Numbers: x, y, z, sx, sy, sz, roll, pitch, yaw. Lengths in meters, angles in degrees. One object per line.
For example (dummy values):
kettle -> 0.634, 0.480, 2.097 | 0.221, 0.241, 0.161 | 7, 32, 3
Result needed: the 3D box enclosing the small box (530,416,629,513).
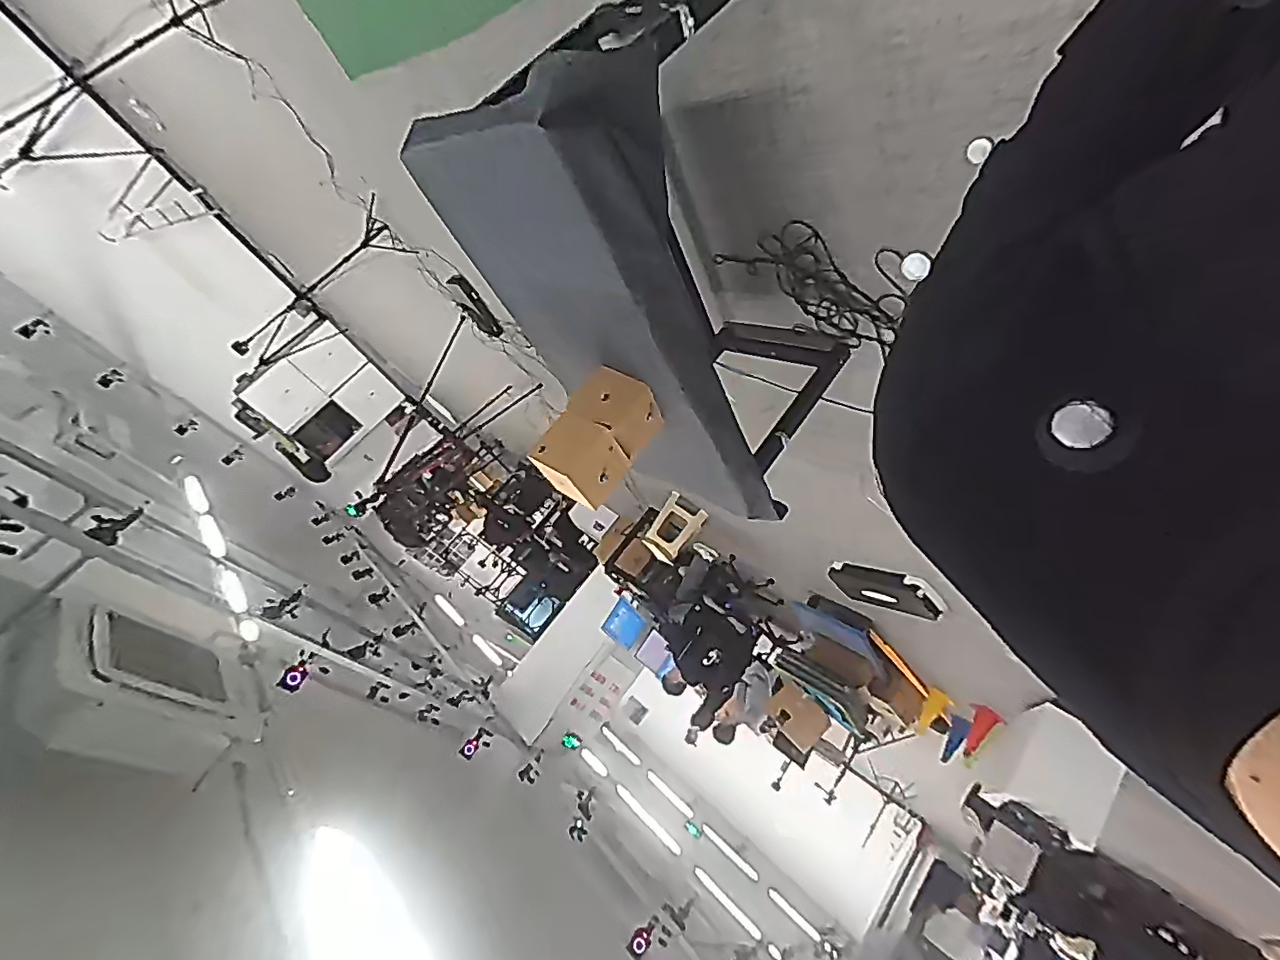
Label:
small box -> -0.151, -0.046, 1.436 | 0.179, 0.176, 0.168 | 26, 159, 40
